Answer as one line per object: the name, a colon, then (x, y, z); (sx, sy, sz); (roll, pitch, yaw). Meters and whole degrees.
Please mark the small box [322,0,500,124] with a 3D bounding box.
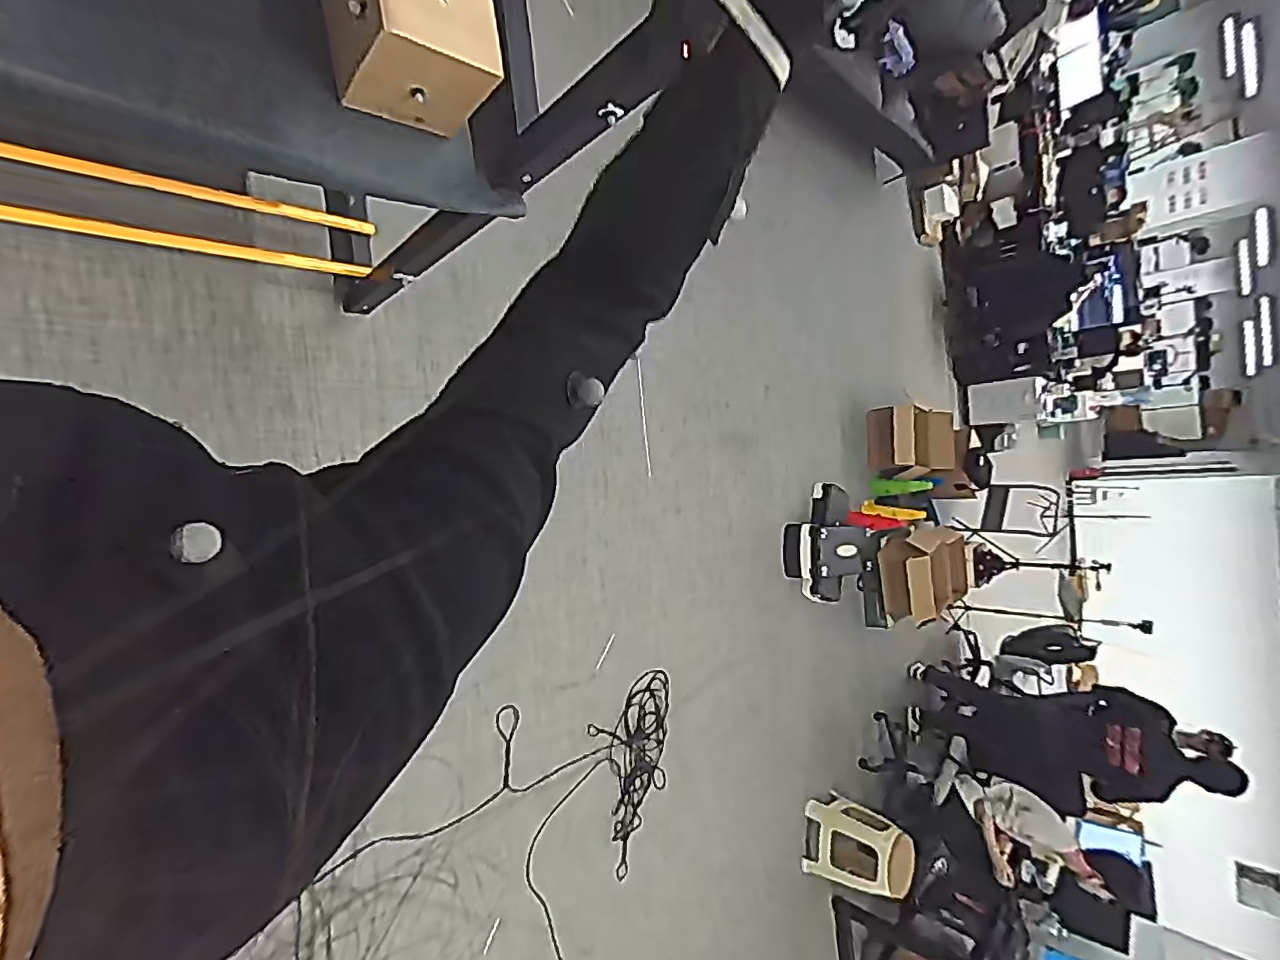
small box: (-0.318, -0.633, 0.740); (0.168, 0.176, 0.179); (-13, 97, -45)
